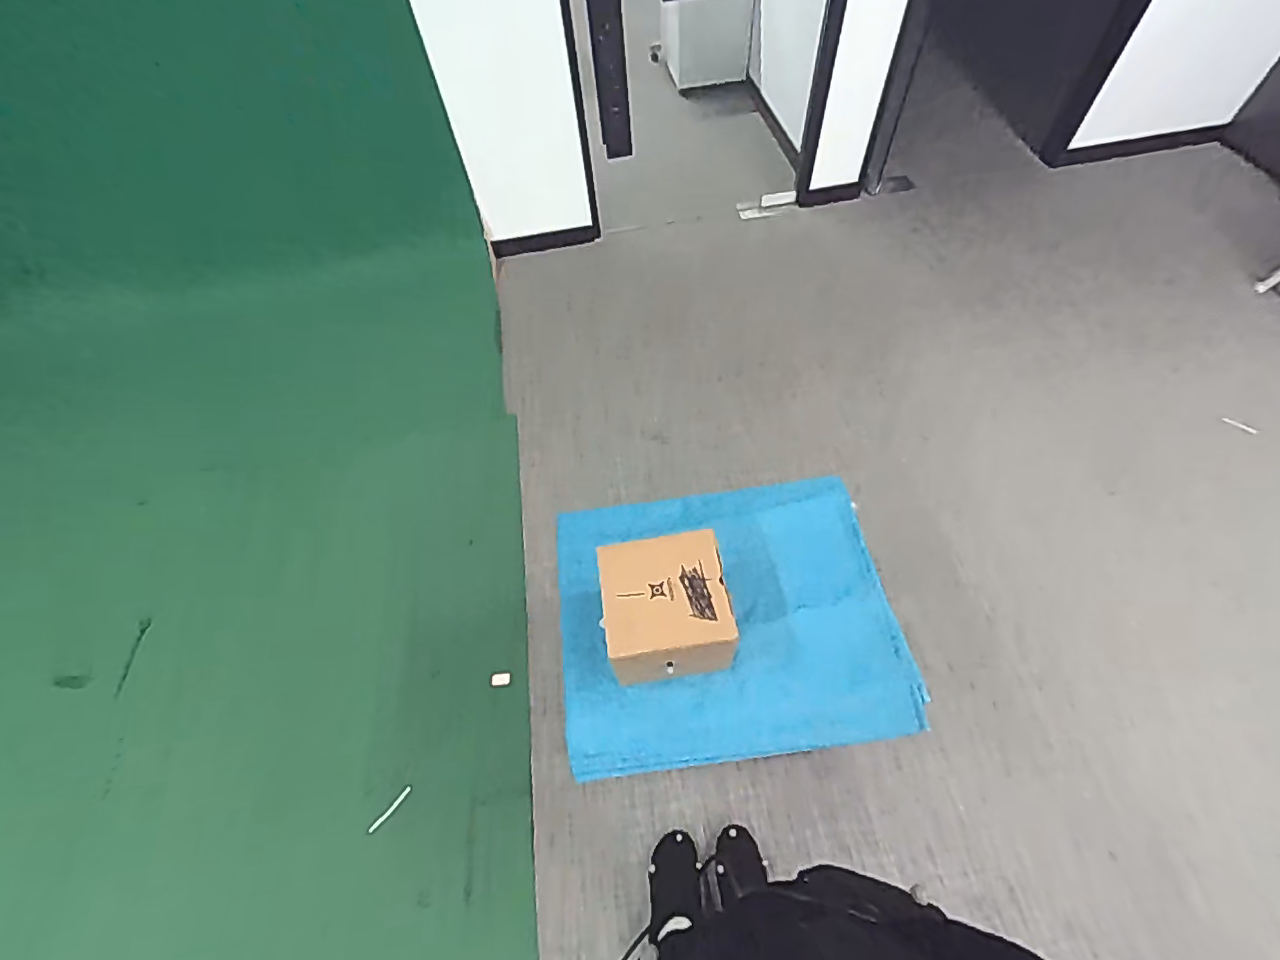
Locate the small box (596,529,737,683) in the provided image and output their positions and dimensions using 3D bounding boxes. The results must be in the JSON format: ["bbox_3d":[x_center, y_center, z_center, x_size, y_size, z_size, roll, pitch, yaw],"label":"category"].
[{"bbox_3d":[0.035,0.193,0.807,0.179,0.176,0.168,-9,57,-1],"label":"small box"}]
